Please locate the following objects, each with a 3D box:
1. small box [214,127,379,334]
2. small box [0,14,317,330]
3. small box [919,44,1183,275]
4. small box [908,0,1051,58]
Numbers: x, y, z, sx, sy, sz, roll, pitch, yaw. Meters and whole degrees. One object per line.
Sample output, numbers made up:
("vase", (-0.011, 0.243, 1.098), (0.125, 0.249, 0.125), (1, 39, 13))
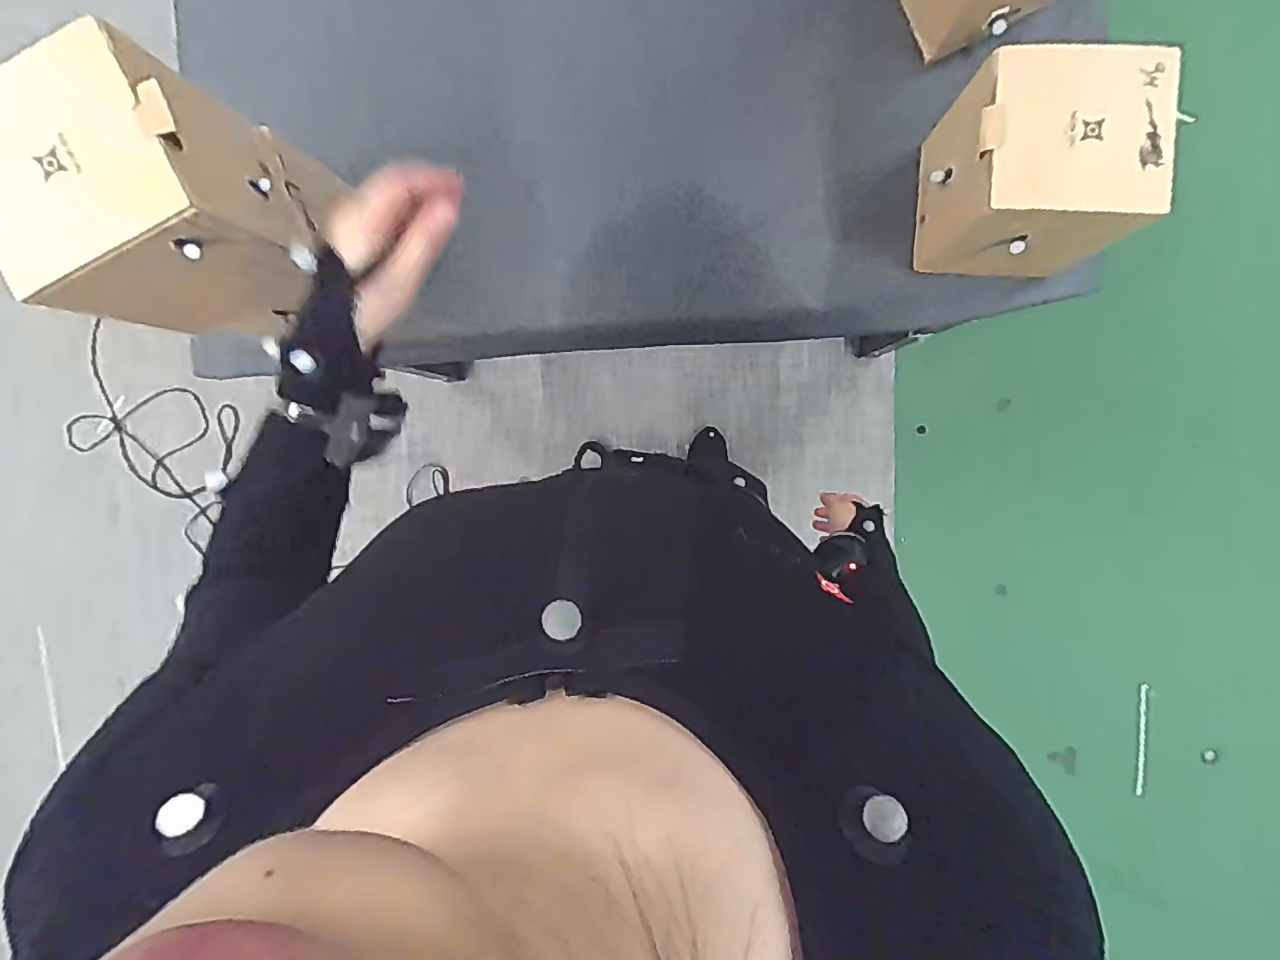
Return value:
("small box", (-0.454, -0.291, 0.672), (0.179, 0.176, 0.168), (-13, 95, 5))
("small box", (-0.460, -0.261, 0.511), (0.179, 0.176, 0.168), (-26, 94, 5))
("small box", (0.439, -0.343, 0.609), (0.179, 0.176, 0.168), (4, 91, 4))
("small box", (0.399, -0.629, 0.591), (0.168, 0.176, 0.179), (-24, 95, 8))
